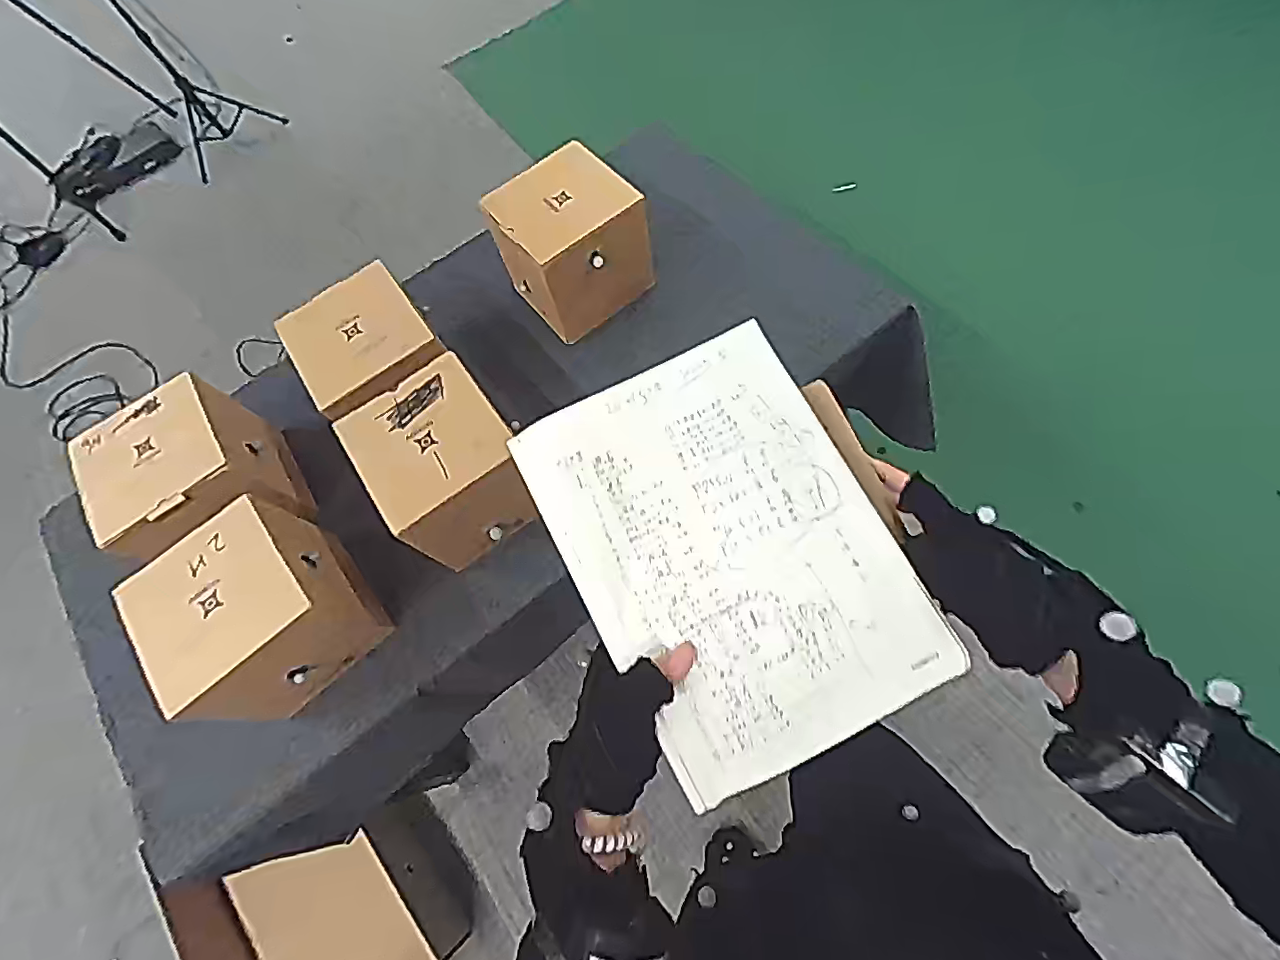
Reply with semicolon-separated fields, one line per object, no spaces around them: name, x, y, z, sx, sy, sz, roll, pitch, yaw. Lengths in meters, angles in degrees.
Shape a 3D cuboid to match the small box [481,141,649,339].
small box;-0.100;-0.352;0.813;0.179;0.176;0.168;-38;68;-8
